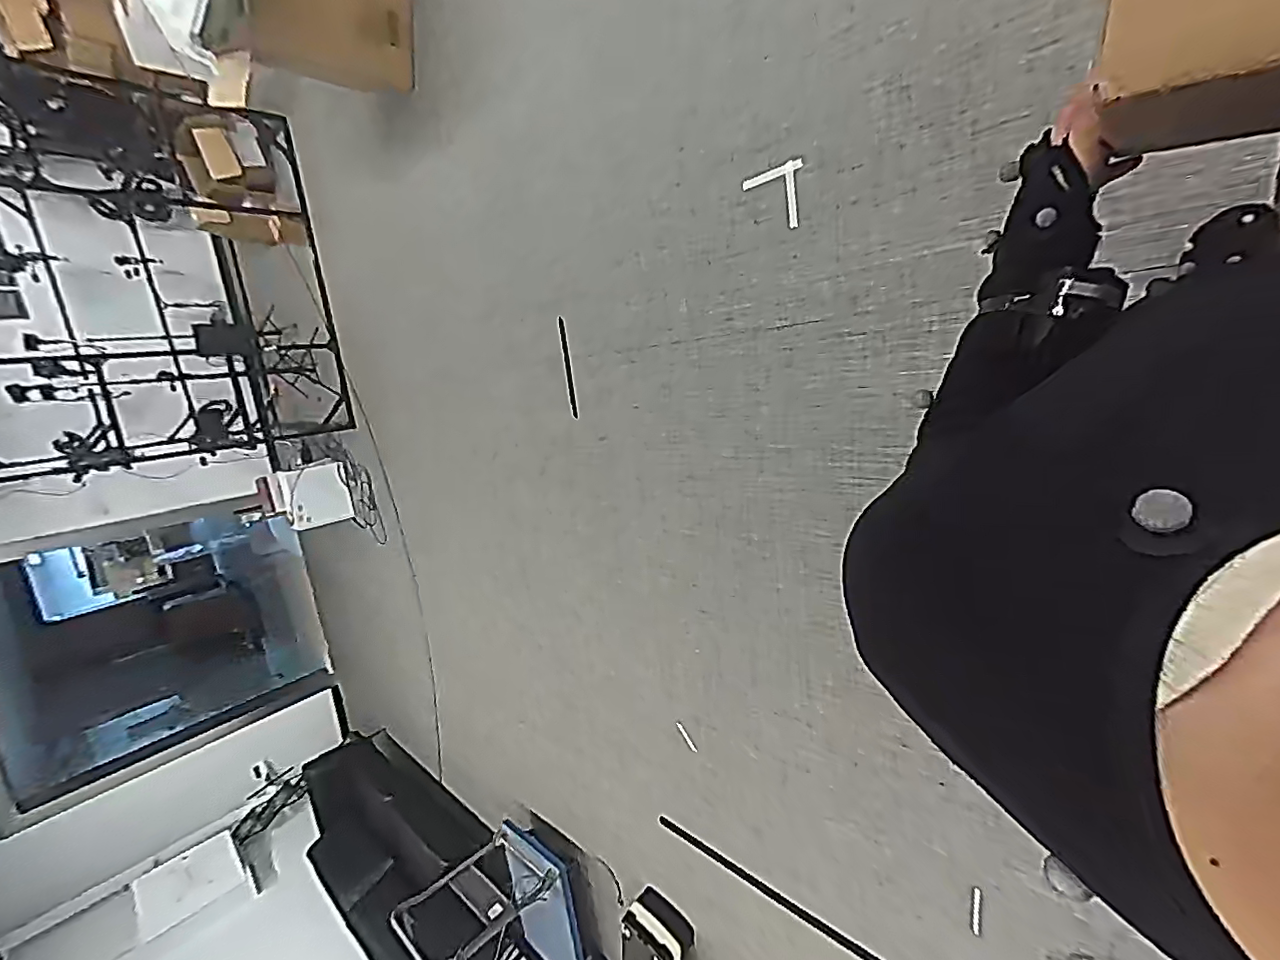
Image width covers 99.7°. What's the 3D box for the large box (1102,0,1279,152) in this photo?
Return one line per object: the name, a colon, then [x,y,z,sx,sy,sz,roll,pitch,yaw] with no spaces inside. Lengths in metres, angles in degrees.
large box: [0.420,-0.331,0.162,0.408,0.320,0.320,10,117,37]
